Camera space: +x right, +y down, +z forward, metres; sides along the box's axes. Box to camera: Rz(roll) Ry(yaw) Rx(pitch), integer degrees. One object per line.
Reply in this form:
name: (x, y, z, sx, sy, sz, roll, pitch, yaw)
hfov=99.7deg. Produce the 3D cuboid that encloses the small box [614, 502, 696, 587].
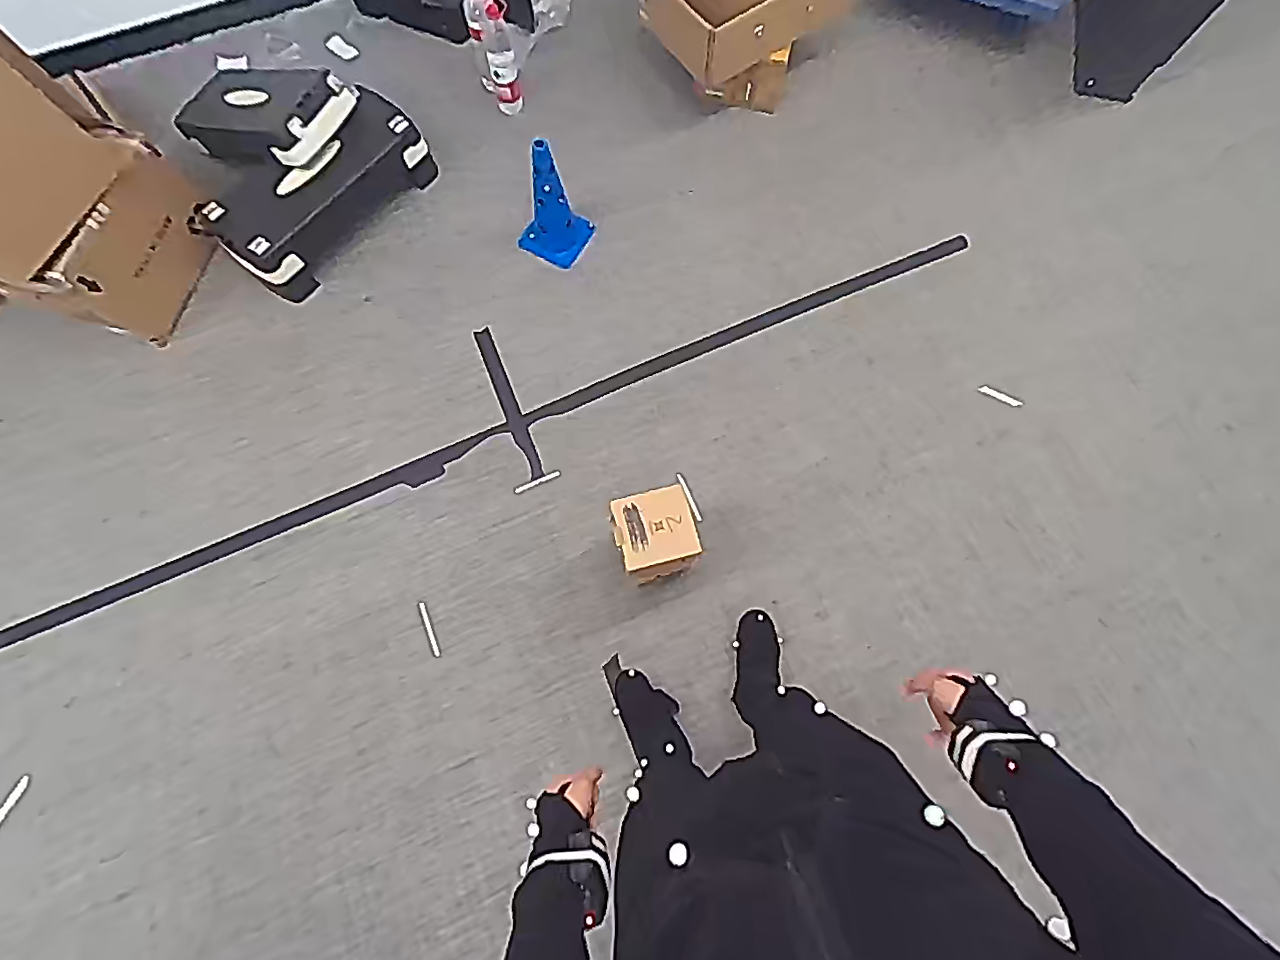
small box: (0.038, 0.180, 1.447, 0.168, 0.176, 0.179, -19, 75, -6)
